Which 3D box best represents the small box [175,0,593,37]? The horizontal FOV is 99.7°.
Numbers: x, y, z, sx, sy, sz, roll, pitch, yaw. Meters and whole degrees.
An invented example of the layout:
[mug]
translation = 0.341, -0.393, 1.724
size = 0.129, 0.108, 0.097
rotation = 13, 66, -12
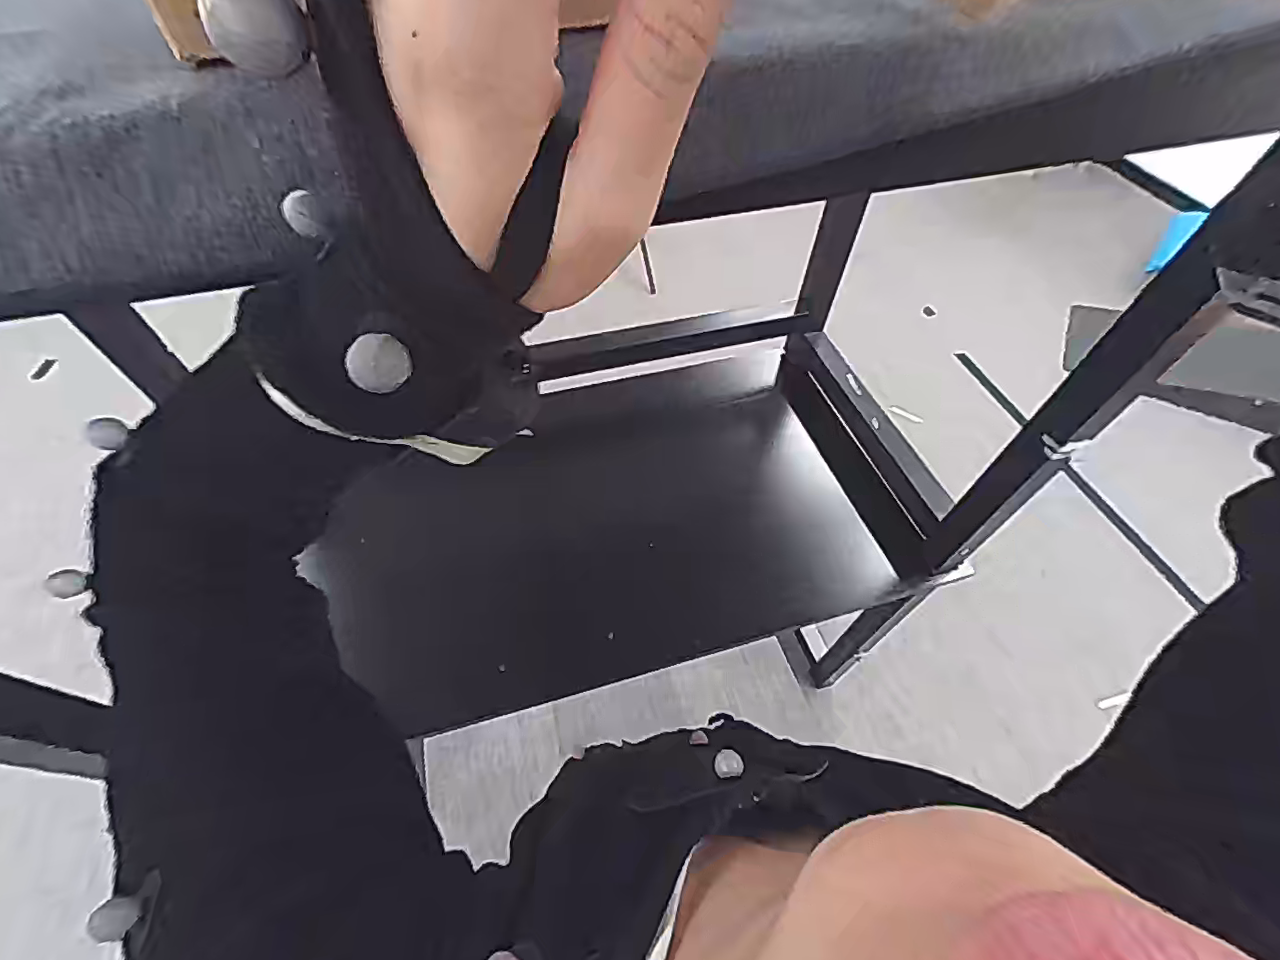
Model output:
[small box]
translation = -0.114, -0.291, 0.199
size = 0.179, 0.176, 0.168
rotation = -15, 55, -12
